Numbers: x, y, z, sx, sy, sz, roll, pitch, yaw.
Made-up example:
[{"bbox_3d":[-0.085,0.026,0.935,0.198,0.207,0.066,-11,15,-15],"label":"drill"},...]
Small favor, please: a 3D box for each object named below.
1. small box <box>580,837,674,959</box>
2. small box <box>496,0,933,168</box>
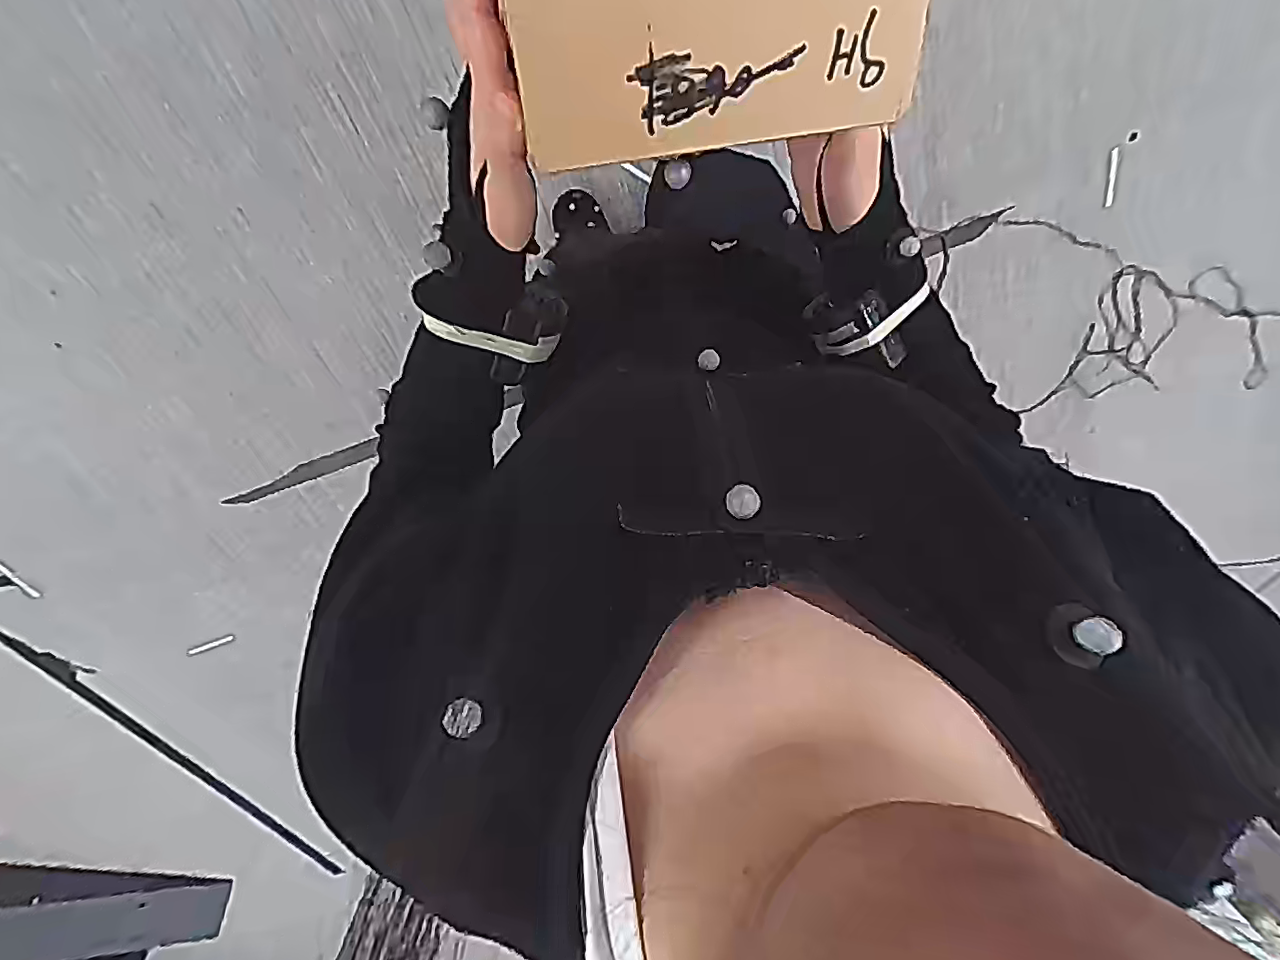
[{"bbox_3d":[-0.031,0.945,1.215,0.168,0.176,0.179,-16,121,-1],"label":"small box"},{"bbox_3d":[0.013,-0.252,0.242,0.168,0.176,0.179,-11,124,-4],"label":"small box"}]
